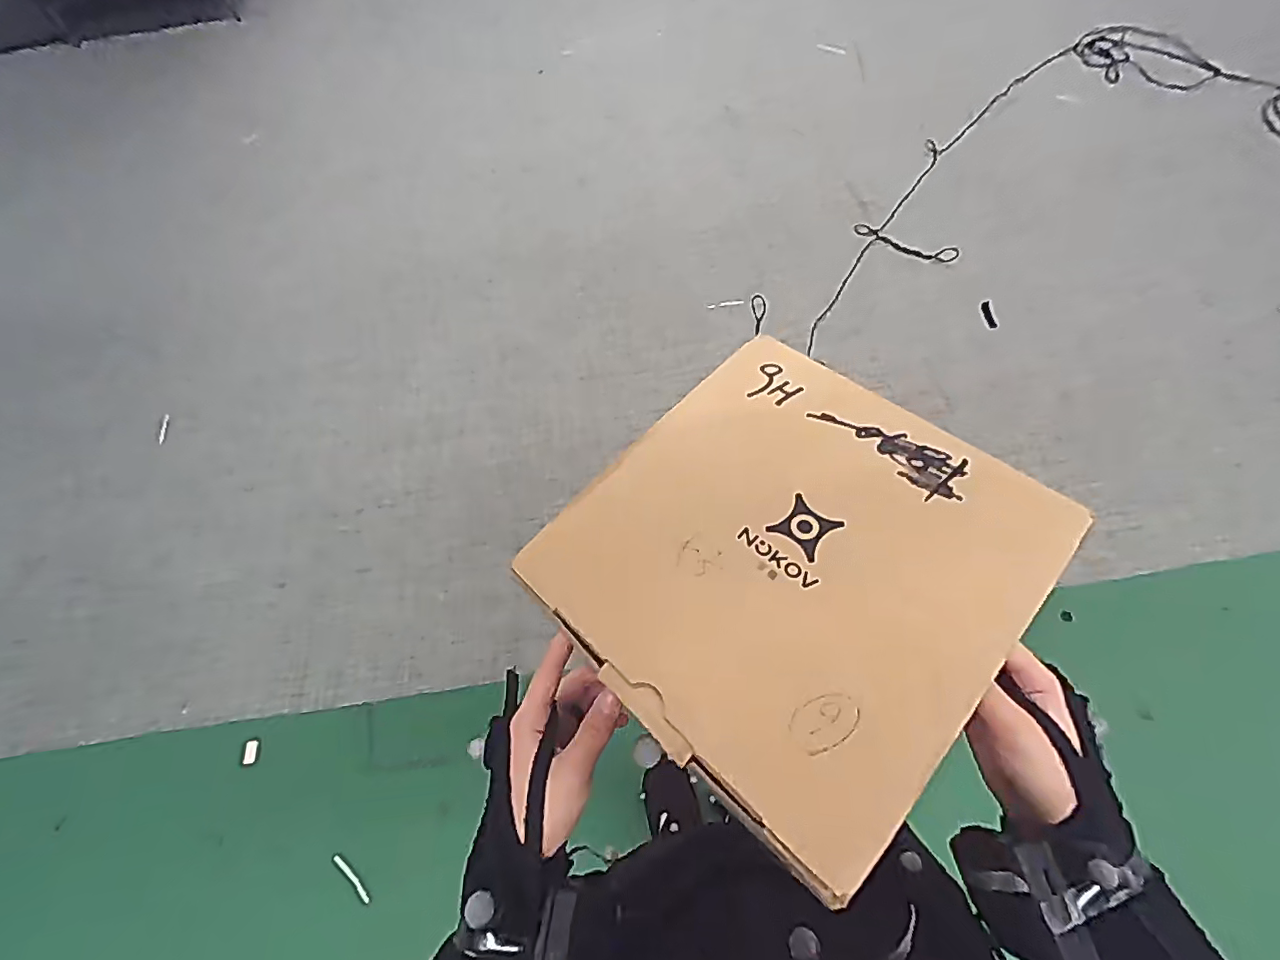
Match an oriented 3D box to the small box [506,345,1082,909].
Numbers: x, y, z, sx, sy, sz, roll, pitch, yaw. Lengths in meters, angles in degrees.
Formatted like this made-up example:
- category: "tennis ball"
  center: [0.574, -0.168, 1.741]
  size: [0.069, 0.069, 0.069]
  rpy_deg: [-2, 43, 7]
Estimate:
- category: "small box"
  center: [0.068, 0.071, 0.288]
  size: [0.168, 0.176, 0.179]
  rpy_deg: [38, 71, 26]
